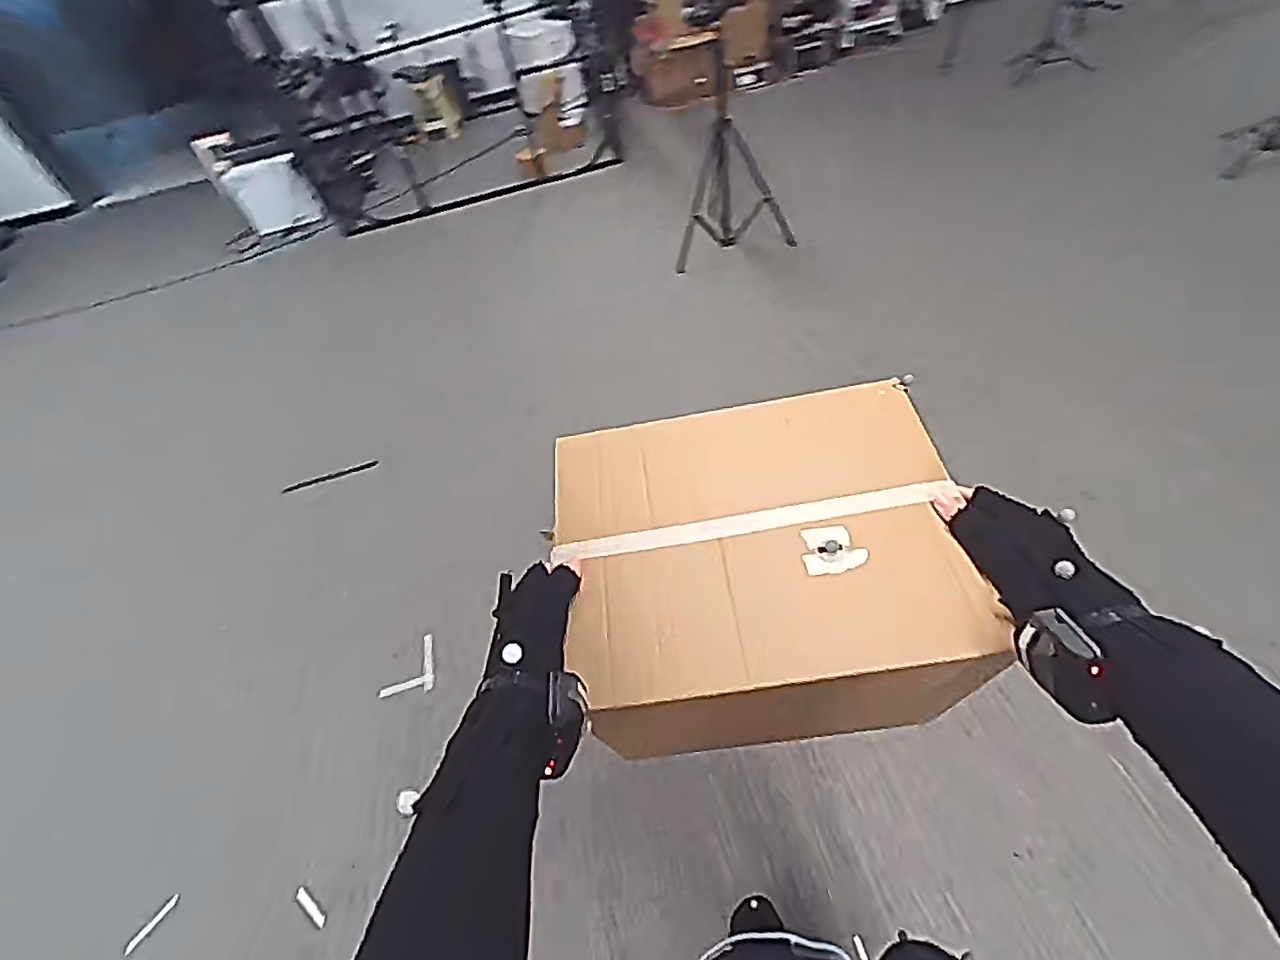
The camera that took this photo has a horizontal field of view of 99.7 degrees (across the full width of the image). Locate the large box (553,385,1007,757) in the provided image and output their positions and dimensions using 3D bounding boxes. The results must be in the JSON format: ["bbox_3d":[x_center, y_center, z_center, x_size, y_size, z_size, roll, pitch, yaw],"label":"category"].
[{"bbox_3d":[0.127,0.130,0.682,0.408,0.320,0.320,-10,56,3],"label":"large box"}]
